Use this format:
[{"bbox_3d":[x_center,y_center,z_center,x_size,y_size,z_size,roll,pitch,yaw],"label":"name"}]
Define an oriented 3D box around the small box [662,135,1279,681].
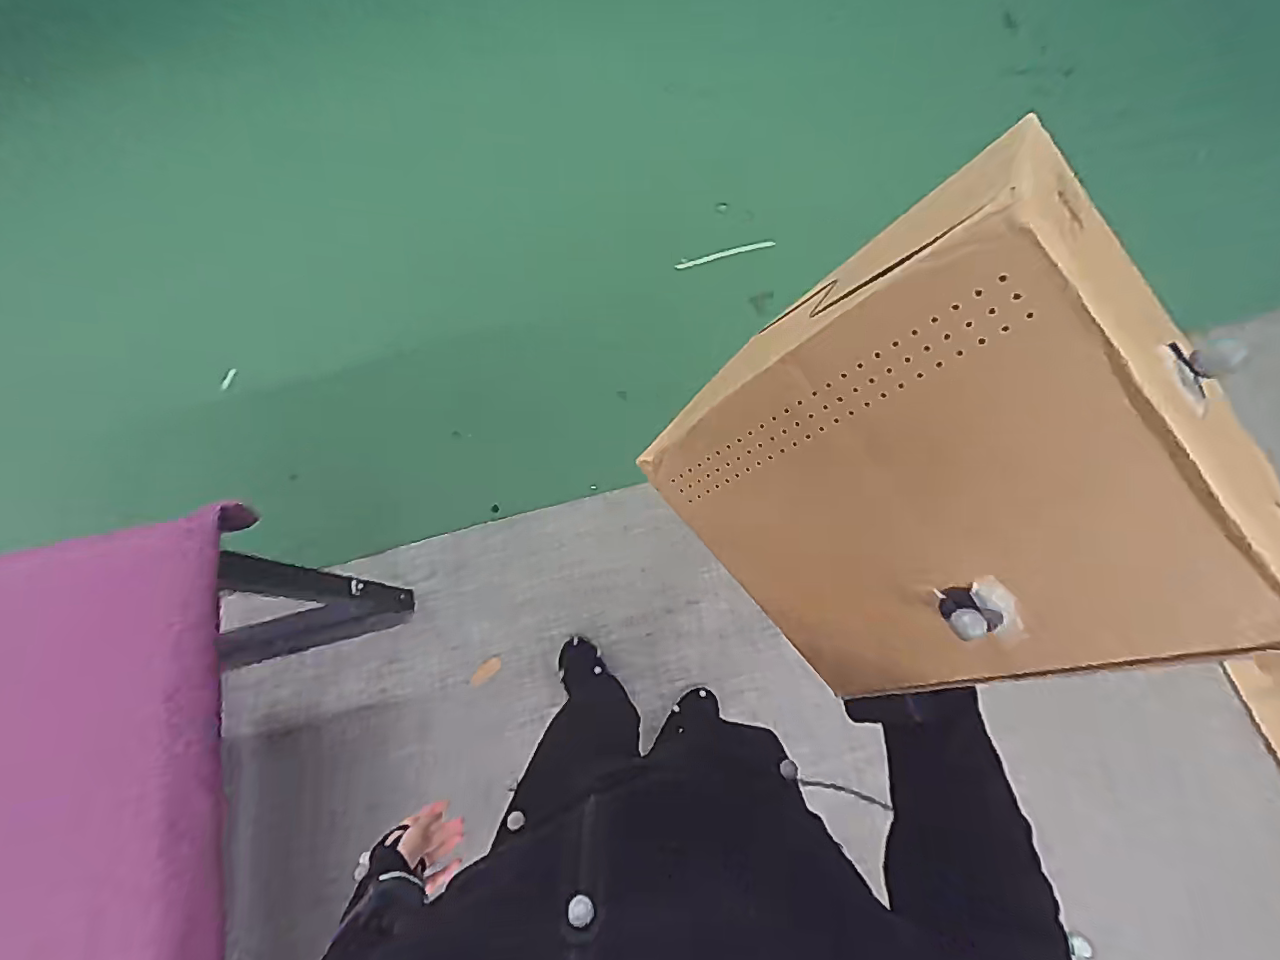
[{"bbox_3d":[0.144,-0.033,0.261,0.176,0.179,0.168,50,47,-7],"label":"small box"}]
